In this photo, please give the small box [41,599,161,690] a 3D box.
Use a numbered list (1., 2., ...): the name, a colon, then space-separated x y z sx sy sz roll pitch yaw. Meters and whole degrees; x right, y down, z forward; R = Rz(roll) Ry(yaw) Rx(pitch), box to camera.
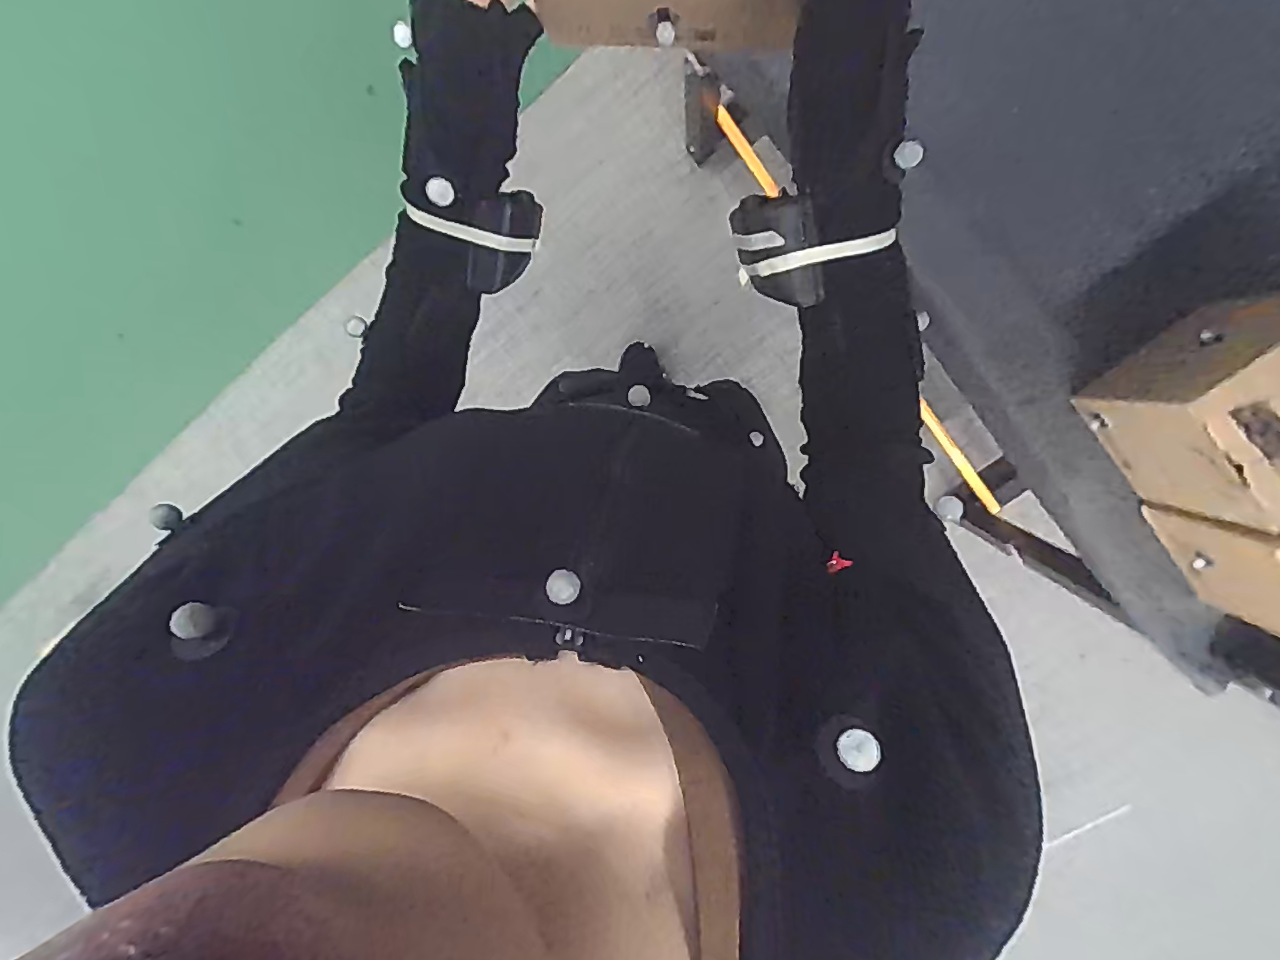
1. small box: -1.632 0.493 1.652 0.179 0.176 0.168 -35 96 11
